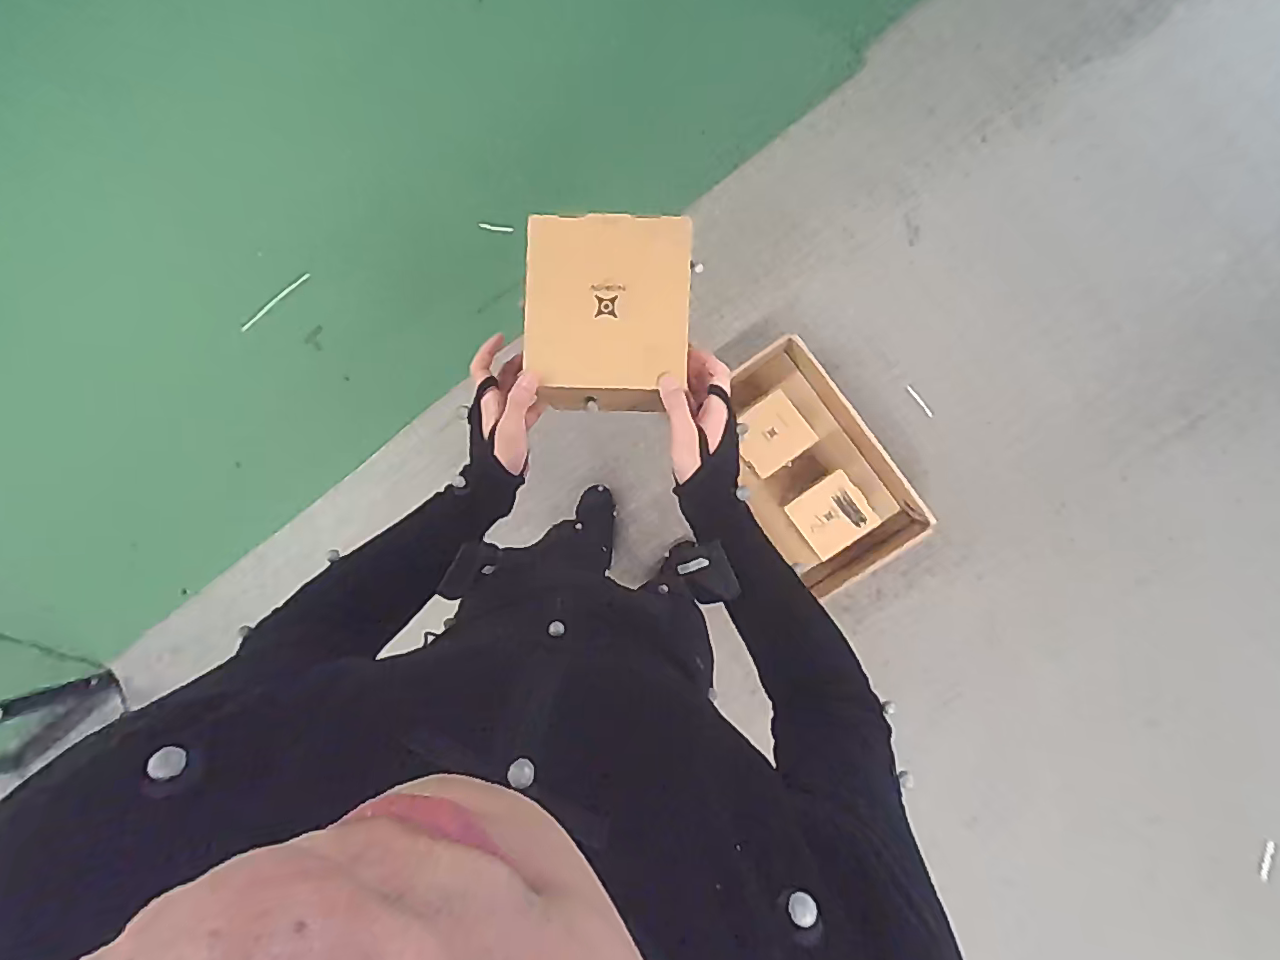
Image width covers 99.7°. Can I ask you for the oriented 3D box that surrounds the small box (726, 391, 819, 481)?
[{"bbox_3d":[0.347,-0.108,1.440,0.179,0.176,0.168,-36,84,6],"label":"small box"}]
